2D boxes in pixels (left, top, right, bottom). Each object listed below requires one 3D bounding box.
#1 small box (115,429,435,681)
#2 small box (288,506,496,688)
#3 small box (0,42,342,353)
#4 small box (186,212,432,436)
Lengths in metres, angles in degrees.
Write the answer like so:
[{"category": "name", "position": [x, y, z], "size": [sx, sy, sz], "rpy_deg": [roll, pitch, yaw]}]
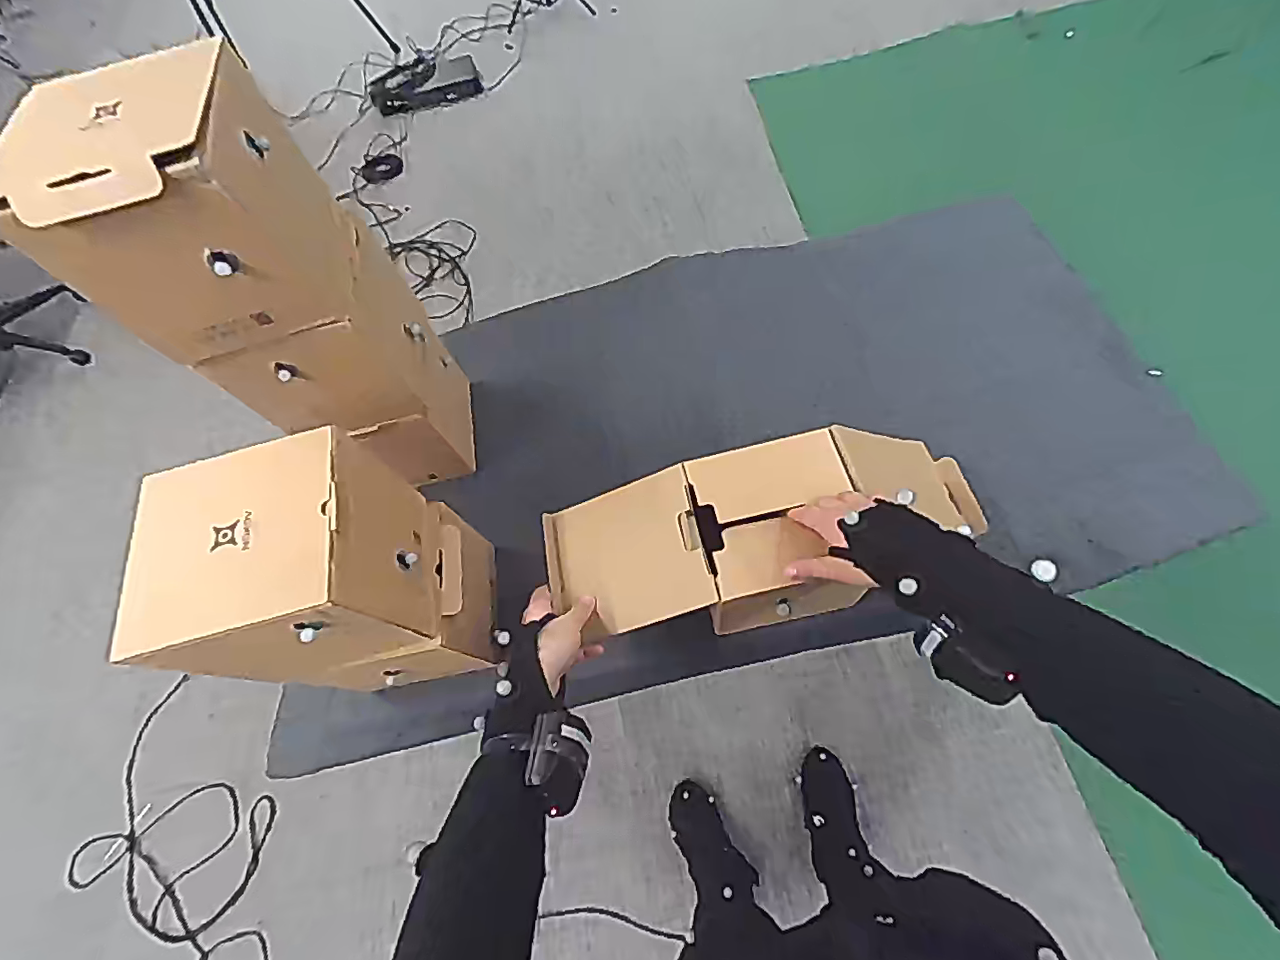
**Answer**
[{"category": "small box", "position": [-0.319, 0.082, 0.511], "size": [0.179, 0.176, 0.168], "rpy_deg": [-16, 64, 0]}, {"category": "small box", "position": [-0.283, 0.149, 0.655], "size": [0.179, 0.176, 0.168], "rpy_deg": [-12, 64, 3]}, {"category": "small box", "position": [-0.393, -0.237, 0.487], "size": [0.168, 0.176, 0.179], "rpy_deg": [-16, 63, -1]}, {"category": "small box", "position": [-0.366, -0.170, 0.633], "size": [0.179, 0.176, 0.168], "rpy_deg": [-13, 65, 2]}]
